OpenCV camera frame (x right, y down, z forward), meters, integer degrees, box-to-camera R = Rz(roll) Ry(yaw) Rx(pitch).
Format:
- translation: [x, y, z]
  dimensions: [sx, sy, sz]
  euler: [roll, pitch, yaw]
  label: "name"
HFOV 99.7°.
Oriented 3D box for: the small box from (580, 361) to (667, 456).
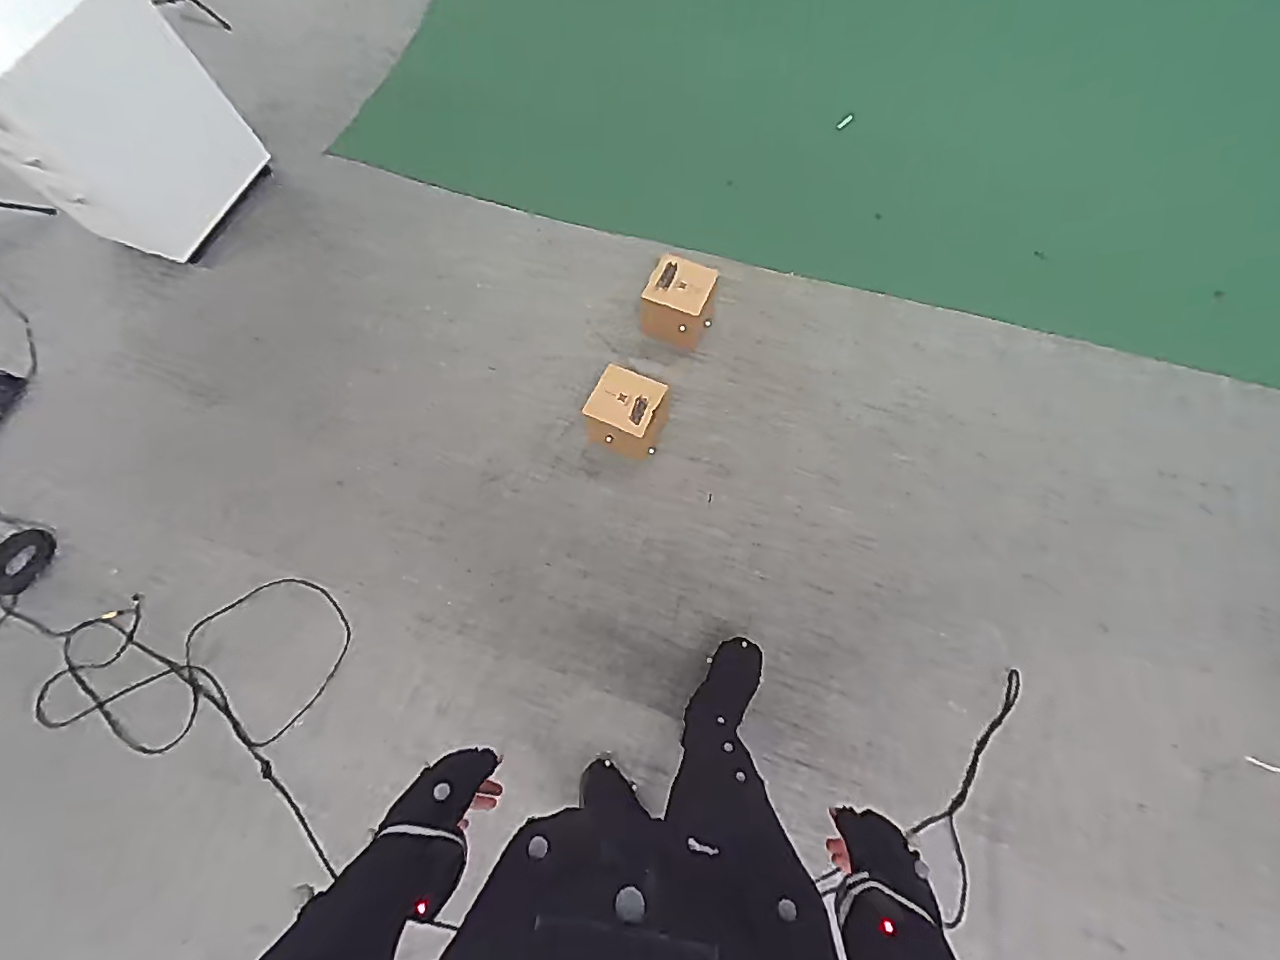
- translation: [-0.037, -0.185, 1.460]
  dimensions: [0.179, 0.176, 0.168]
  euler: [24, 73, 12]
  label: "small box"
